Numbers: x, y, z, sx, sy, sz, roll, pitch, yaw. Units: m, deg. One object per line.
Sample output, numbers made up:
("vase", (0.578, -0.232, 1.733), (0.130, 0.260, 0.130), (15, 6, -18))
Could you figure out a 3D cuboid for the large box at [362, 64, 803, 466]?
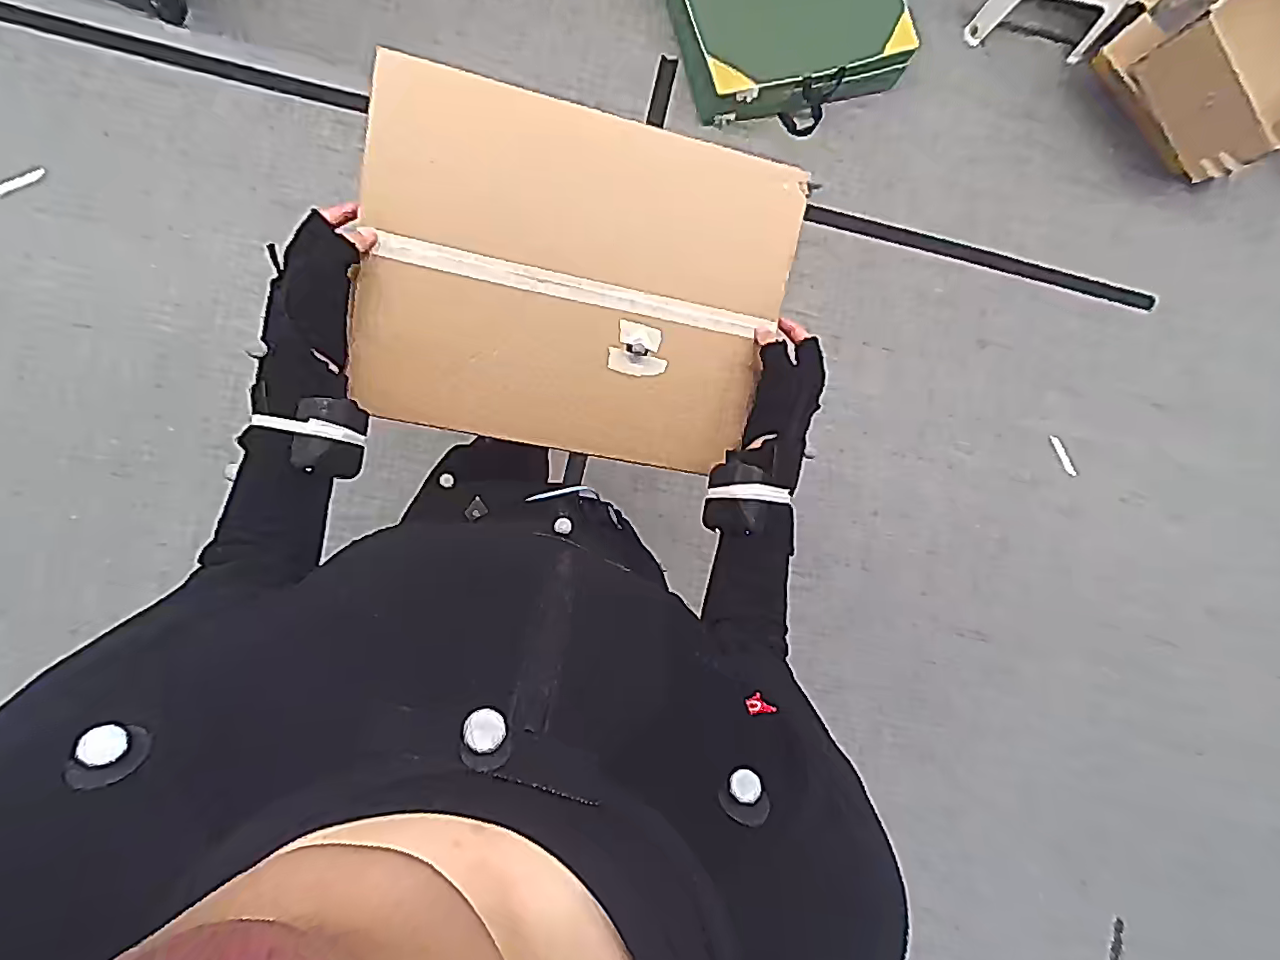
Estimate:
("large box", (-0.077, -0.222, 0.683), (0.408, 0.320, 0.320), (11, 100, -11))
